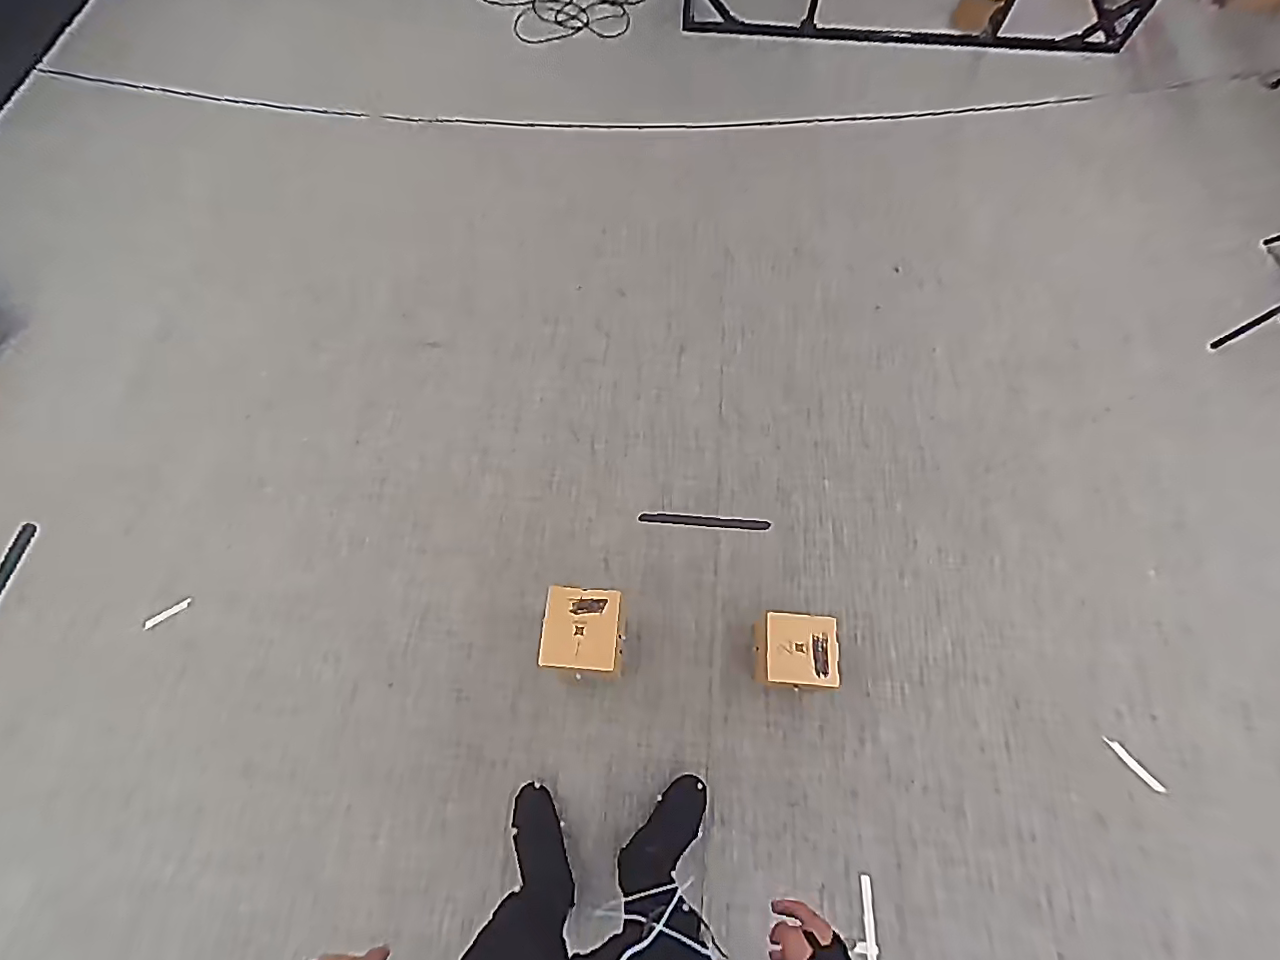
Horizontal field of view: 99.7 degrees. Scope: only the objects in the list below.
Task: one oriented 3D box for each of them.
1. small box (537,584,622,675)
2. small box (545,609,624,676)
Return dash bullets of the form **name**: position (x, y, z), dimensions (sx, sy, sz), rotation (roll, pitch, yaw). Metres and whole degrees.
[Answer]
- **small box**: position (-0.132, 0.351, 1.261), dimensions (0.168, 0.176, 0.179), rotation (4, 68, 3)
- **small box**: position (-0.137, 0.417, 1.411), dimensions (0.179, 0.176, 0.168), rotation (4, 68, 3)
